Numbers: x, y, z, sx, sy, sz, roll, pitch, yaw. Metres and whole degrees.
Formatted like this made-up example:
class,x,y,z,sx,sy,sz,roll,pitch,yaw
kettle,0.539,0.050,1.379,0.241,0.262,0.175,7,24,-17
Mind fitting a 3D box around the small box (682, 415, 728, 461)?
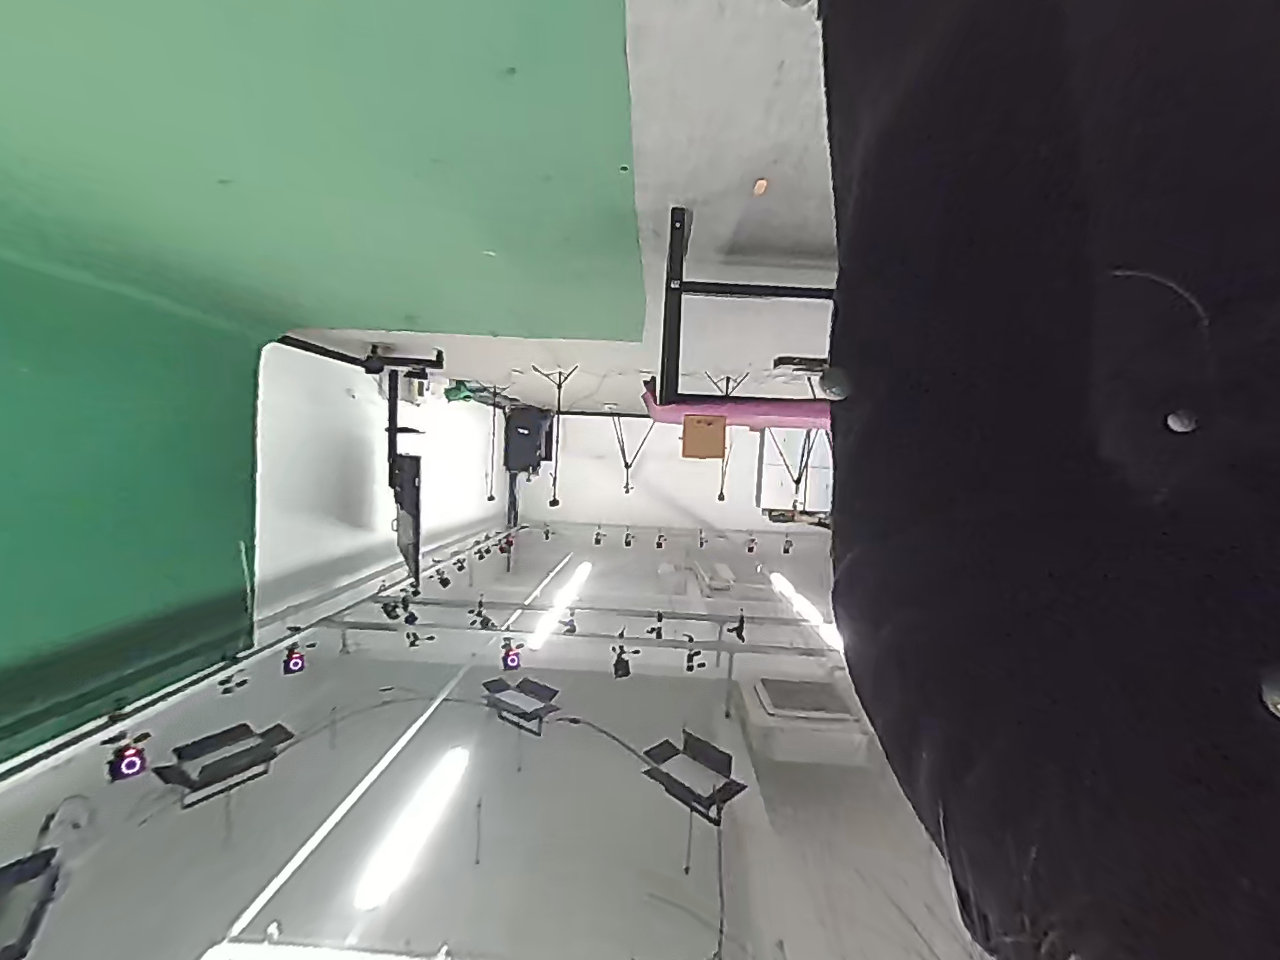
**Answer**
class,x,y,z,sx,sy,sz,roll,pitch,yaw
small box,0.254,-0.164,2.136,0.168,0.176,0.179,2,-176,3
